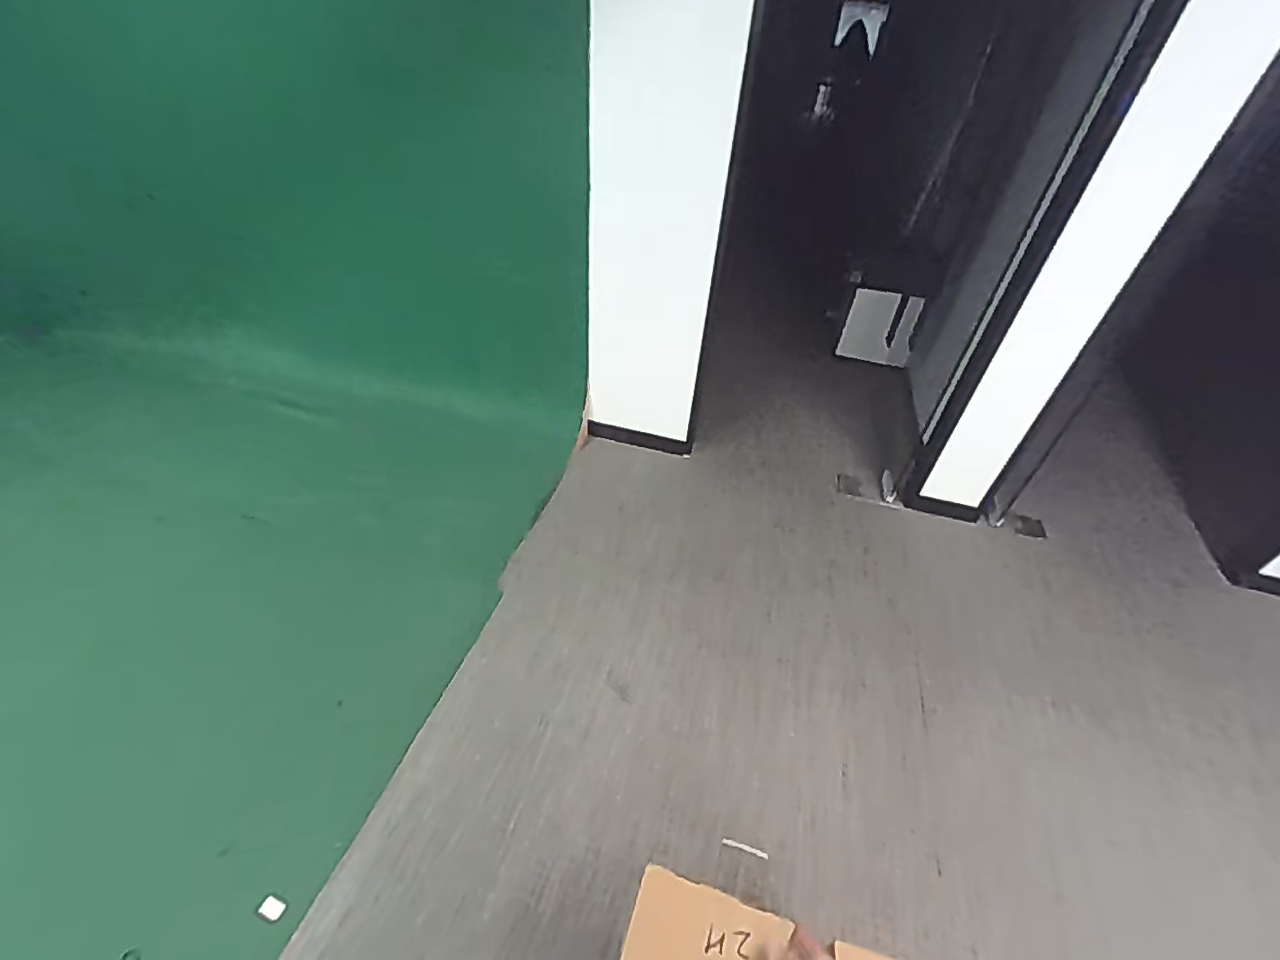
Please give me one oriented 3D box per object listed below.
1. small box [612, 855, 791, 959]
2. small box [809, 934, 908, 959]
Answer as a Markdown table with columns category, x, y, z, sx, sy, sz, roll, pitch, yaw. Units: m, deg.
| category | x | y | z | sx | sy | sz | roll | pitch | yaw |
| --- | --- | --- | --- | --- | --- | --- | --- | --- | --- |
| small box | 0.047 | 0.548 | 0.572 | 0.168 | 0.176 | 0.179 | 17 | 42 | 11 |
| small box | 0.299 | 0.708 | 0.669 | 0.179 | 0.176 | 0.168 | 12 | 40 | 10 |
